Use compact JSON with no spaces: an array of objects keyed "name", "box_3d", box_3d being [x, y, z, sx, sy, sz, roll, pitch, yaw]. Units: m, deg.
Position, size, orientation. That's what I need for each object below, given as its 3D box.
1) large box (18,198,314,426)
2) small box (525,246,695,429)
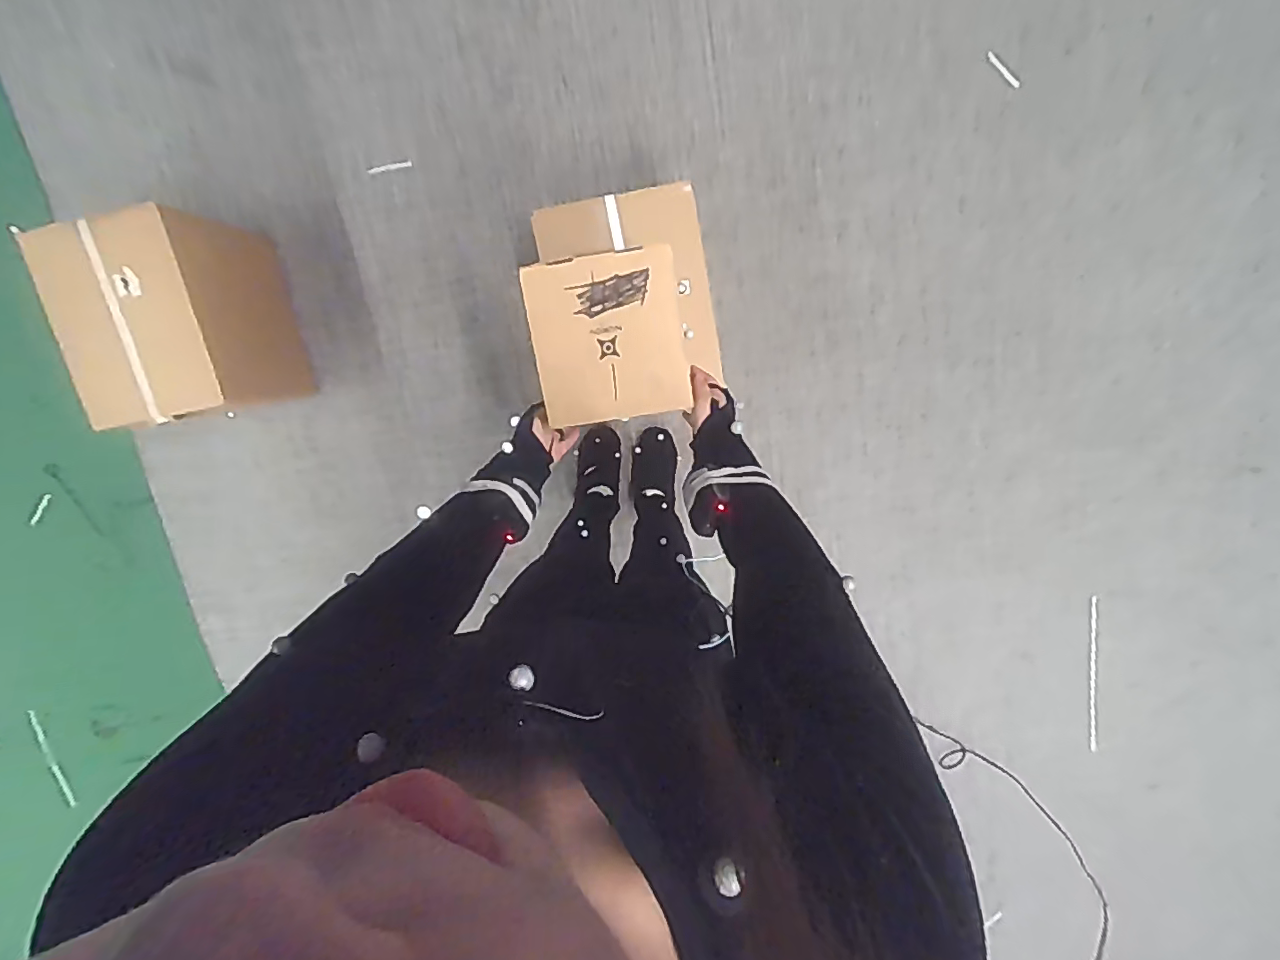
[{"name":"large box","box_3d":[-1.040,-0.361,1.242,0.320,0.320,0.408,-9,102,5]},{"name":"small box","box_3d":[-0.029,-0.170,0.662,0.168,0.176,0.179,-8,105,4]}]
